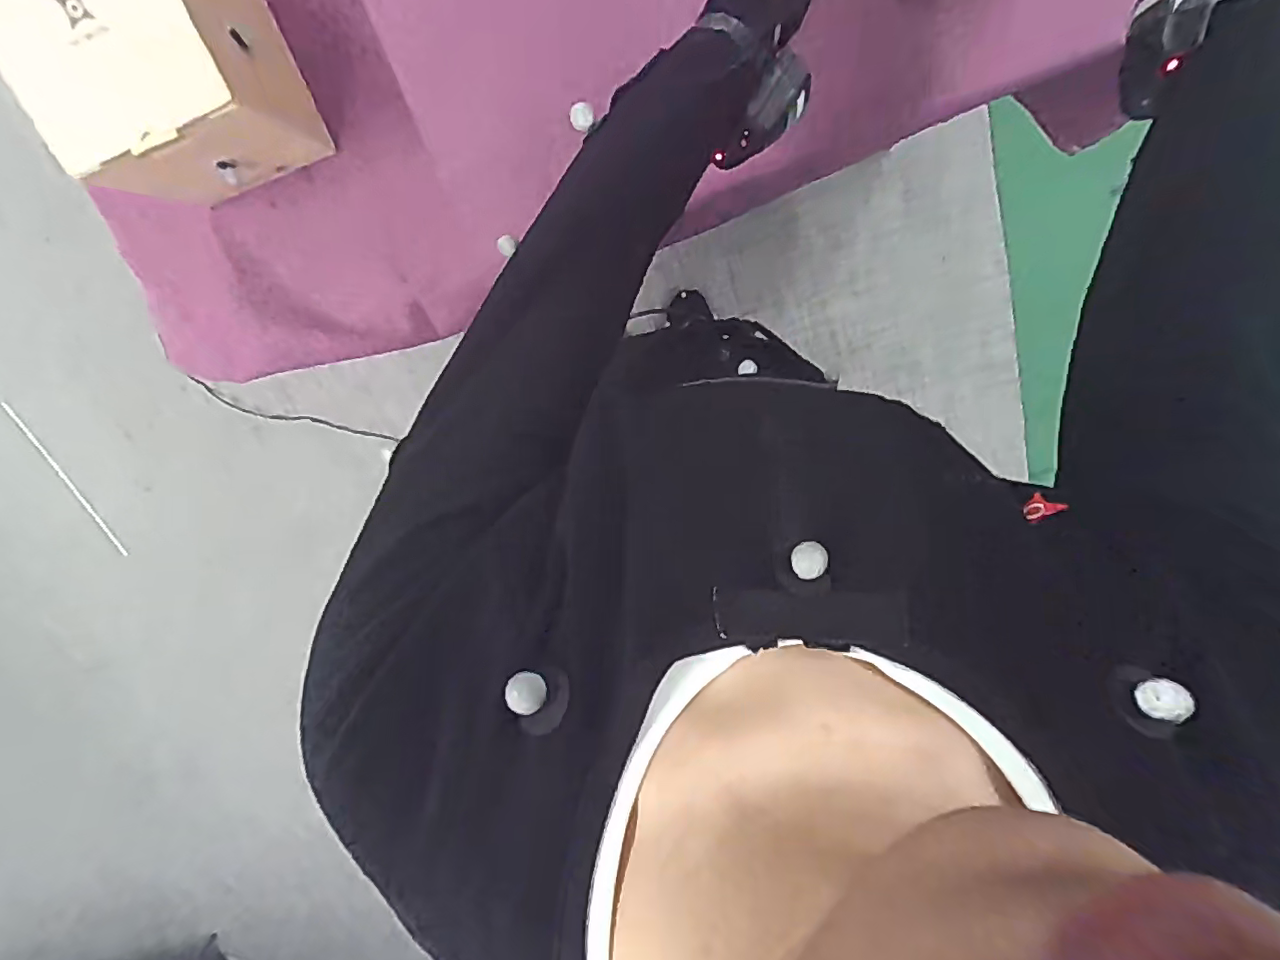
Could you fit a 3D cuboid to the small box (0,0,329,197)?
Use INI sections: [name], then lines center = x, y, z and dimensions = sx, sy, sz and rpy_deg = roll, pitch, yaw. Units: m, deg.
[small box]
center = -0.435, -0.382, 0.501
dimensions = 0.168, 0.176, 0.179
rpy_deg = -19, 109, 5
